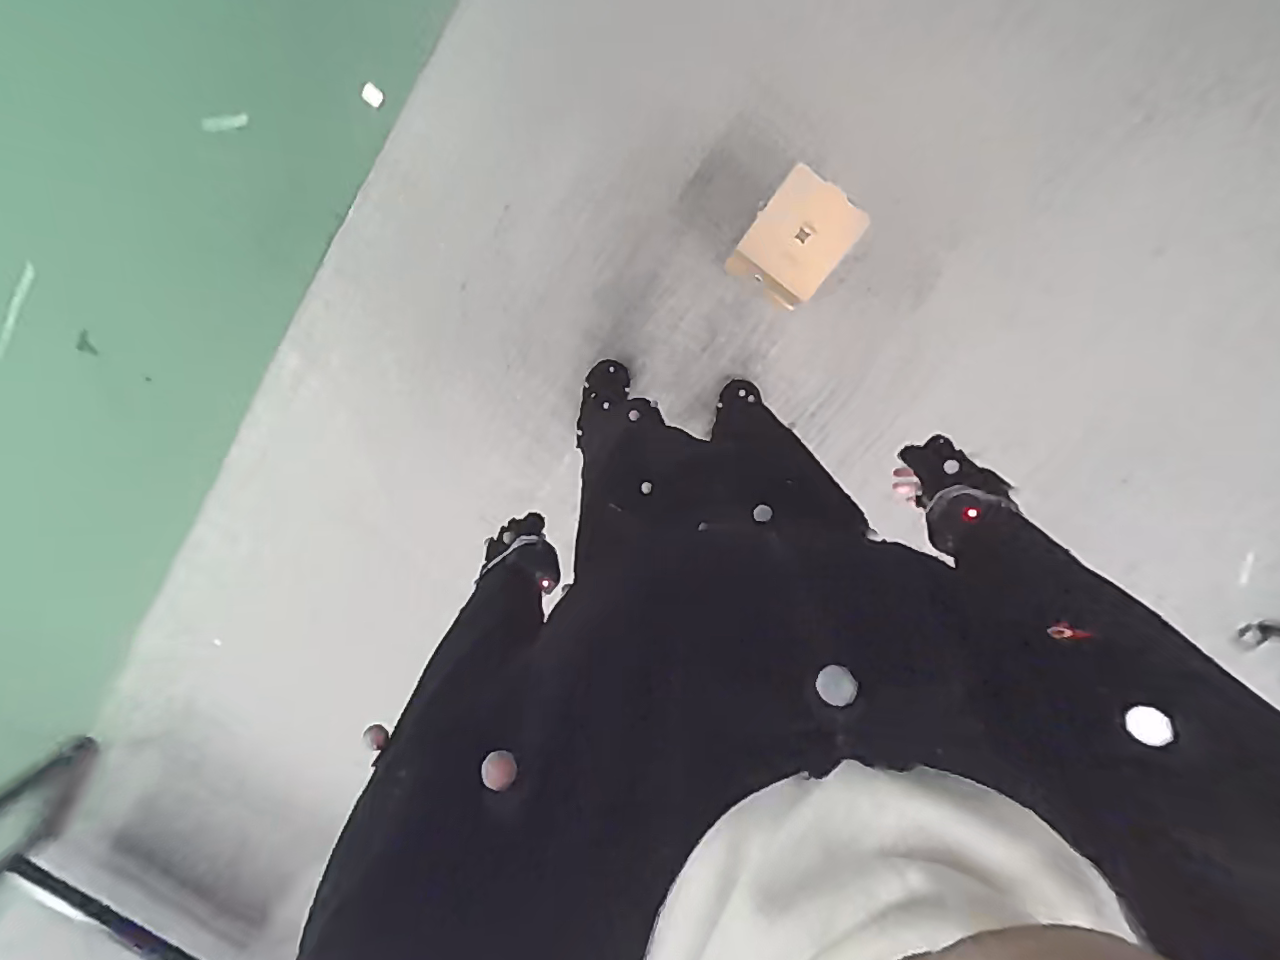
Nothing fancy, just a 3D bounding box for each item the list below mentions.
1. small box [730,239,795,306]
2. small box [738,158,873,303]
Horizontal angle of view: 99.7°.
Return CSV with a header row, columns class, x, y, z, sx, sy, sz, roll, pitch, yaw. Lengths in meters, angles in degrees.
class,x,y,z,sx,sy,sz,roll,pitch,yaw
small box,0.311,-0.496,1.181,0.179,0.176,0.168,39,107,-6
small box,0.298,-0.458,1.023,0.168,0.176,0.179,38,108,-3
